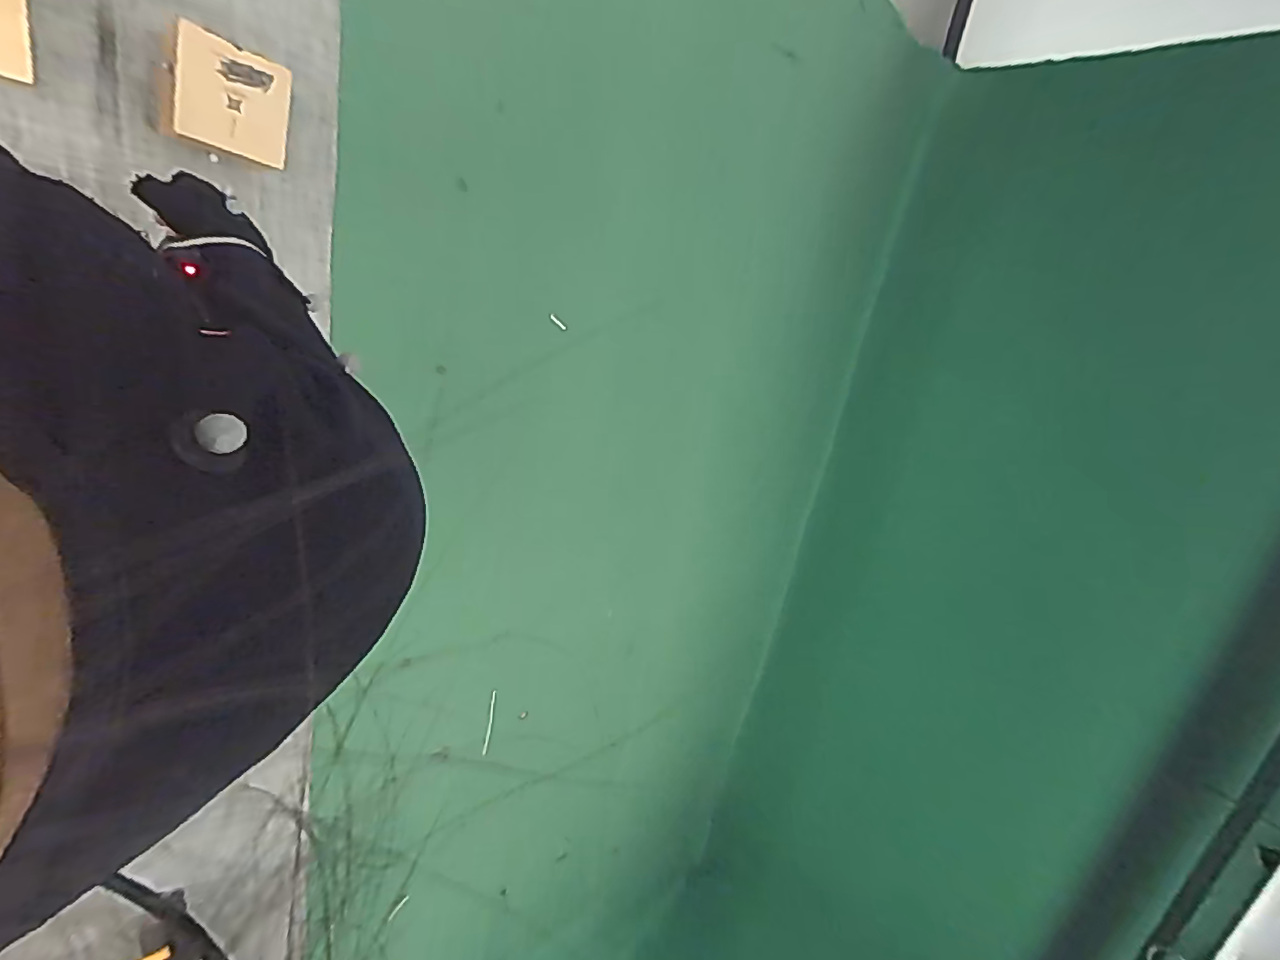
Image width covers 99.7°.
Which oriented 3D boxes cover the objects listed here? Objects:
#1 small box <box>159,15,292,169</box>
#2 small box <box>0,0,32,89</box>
[{"bbox_3d":[-0.775,-0.707,1.008,0.168,0.176,0.179,-1,111,-48],"label":"small box"},{"bbox_3d":[-0.994,-0.691,0.767,0.168,0.176,0.179,-7,114,-47],"label":"small box"}]
